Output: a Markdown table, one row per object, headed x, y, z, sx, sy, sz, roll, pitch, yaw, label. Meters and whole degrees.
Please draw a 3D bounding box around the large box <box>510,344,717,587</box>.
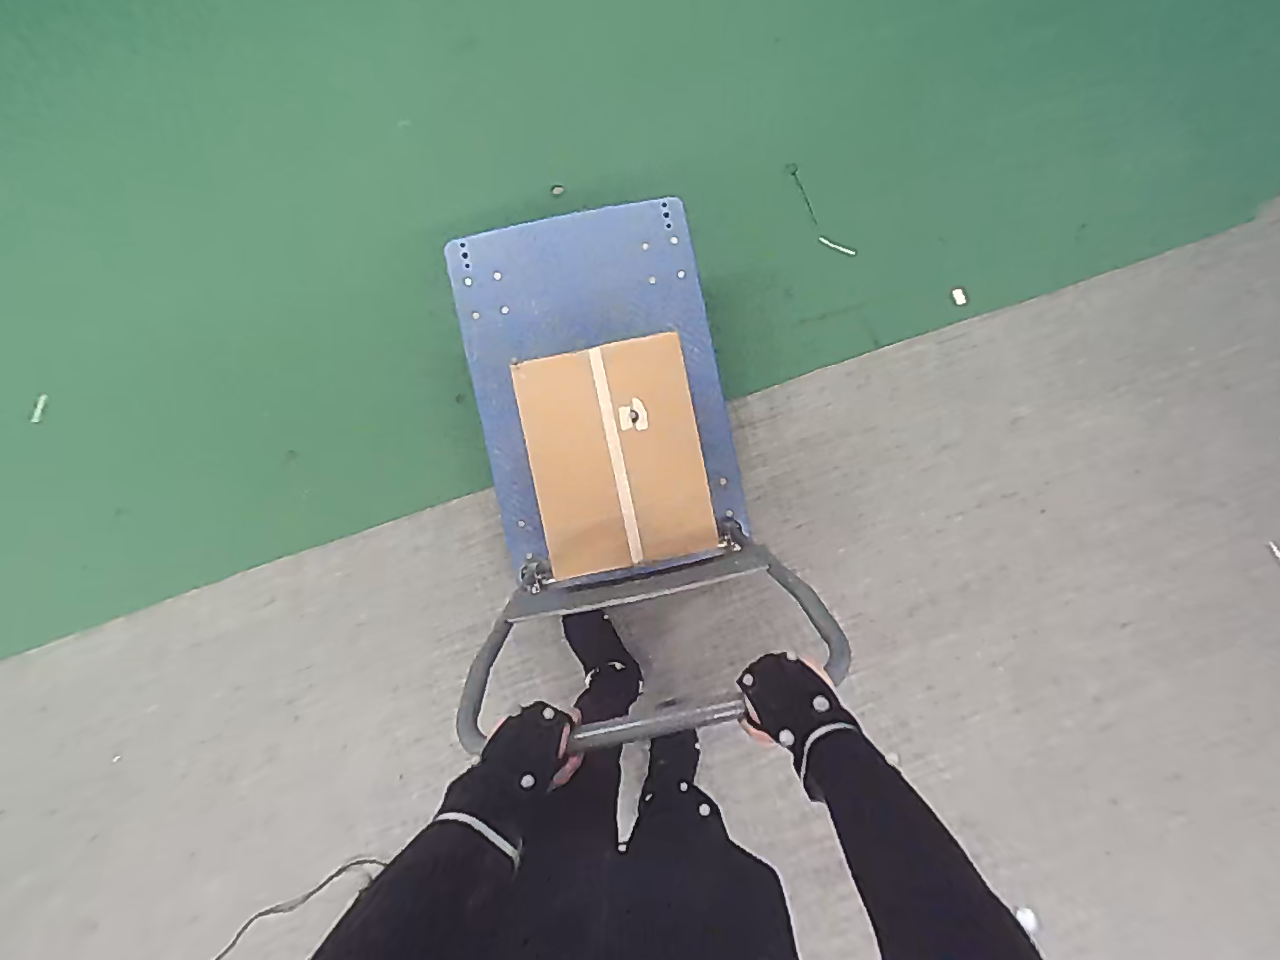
| x | y | z | sx | sy | sz | roll | pitch | yaw | label |
| --- | --- | --- | --- | --- | --- | --- | --- | --- | --- |
| -0.048 | -0.030 | 1.141 | 0.320 | 0.320 | 0.408 | -12 | 93 | -1 | large box |
